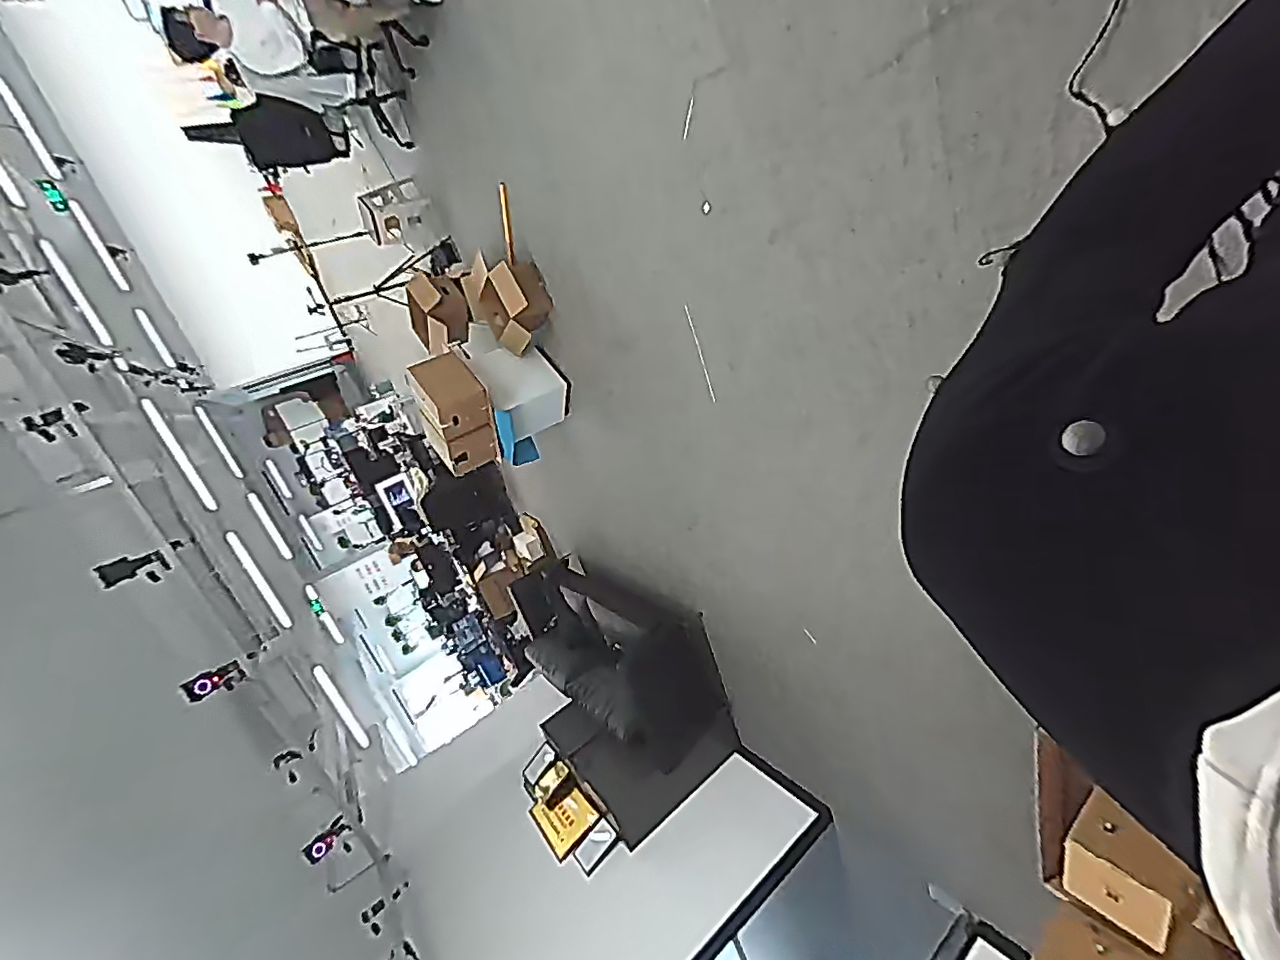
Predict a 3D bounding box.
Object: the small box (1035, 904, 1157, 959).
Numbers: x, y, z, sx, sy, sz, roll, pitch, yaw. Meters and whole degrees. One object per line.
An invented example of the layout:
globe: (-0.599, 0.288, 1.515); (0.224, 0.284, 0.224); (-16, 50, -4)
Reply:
small box: (0.953, 1.051, 1.120); (0.168, 0.176, 0.179); (13, 124, 56)

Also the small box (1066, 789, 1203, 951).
small box: (1.016, 0.790, 1.114); (0.168, 0.176, 0.179); (20, 133, 54)

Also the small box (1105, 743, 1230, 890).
small box: (1.147, 0.723, 1.183); (0.168, 0.176, 0.179); (17, 131, 55)

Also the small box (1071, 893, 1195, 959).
small box: (1.088, 0.998, 1.200); (0.168, 0.176, 0.179); (16, 126, 56)
